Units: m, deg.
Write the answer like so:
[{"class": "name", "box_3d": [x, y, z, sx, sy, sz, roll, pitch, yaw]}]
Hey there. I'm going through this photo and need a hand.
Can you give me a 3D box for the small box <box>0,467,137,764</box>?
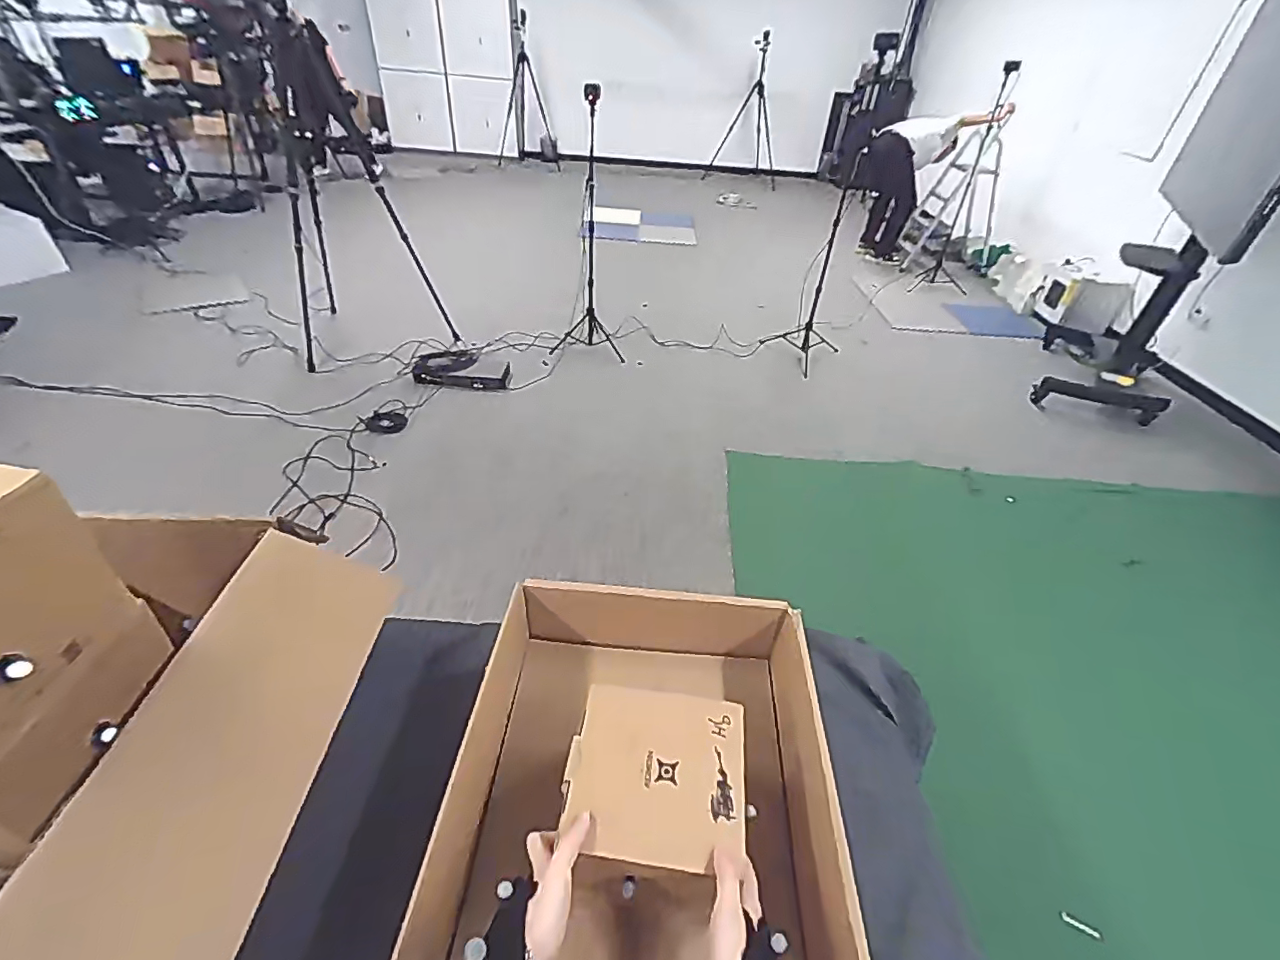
[{"class": "small box", "box_3d": [-0.535, 0.098, 0.384, 0.179, 0.176, 0.168, 8, 37, -4]}]
